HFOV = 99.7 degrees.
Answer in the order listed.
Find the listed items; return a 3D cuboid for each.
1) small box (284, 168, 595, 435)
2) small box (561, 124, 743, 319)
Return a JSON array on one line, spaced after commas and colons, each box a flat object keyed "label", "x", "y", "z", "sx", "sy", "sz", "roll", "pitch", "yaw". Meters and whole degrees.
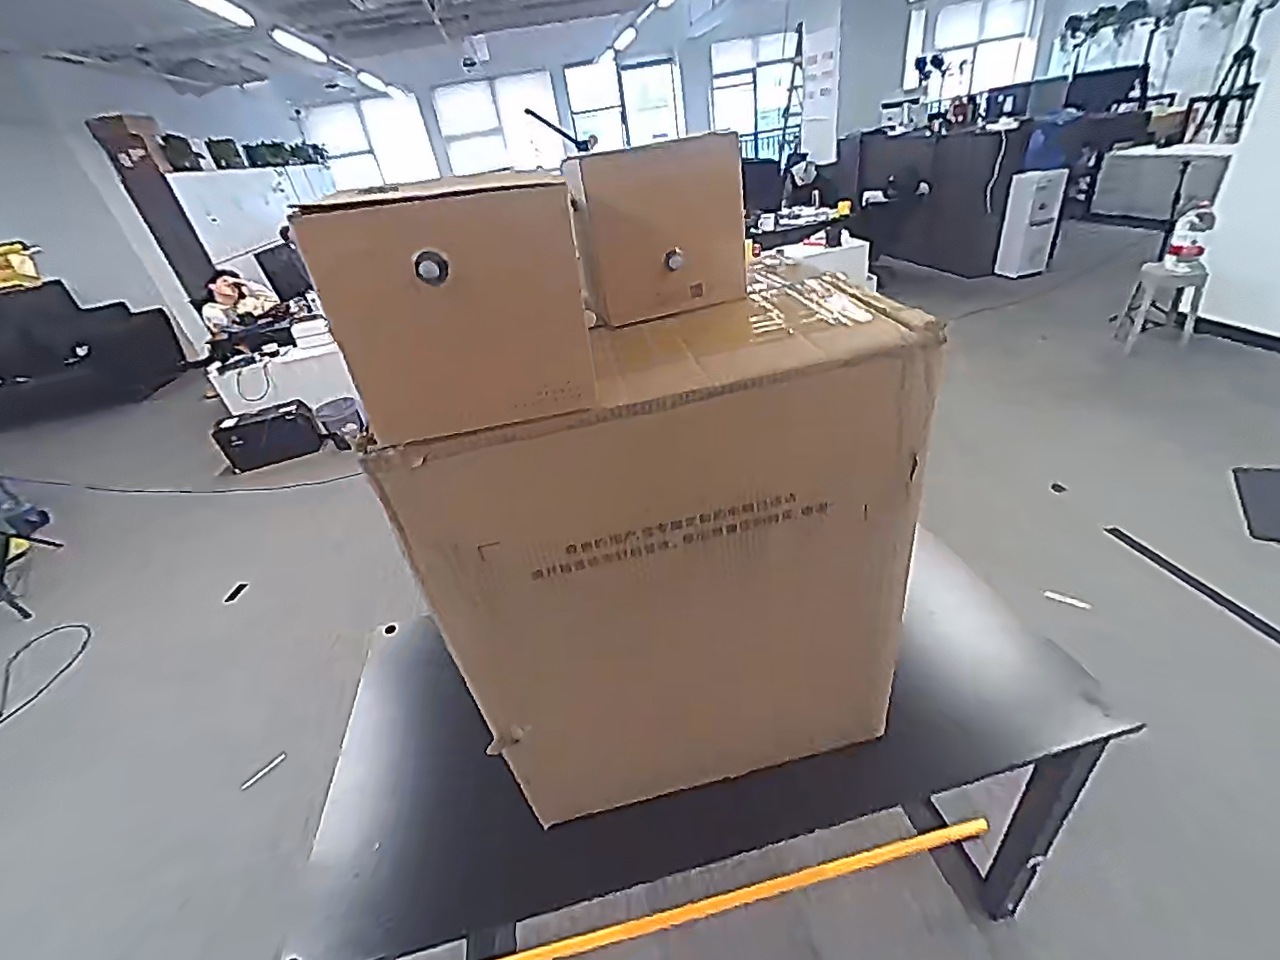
[{"label": "small box", "x": -0.144, "y": -0.152, "z": 0.449, "sx": 0.179, "sy": 0.176, "sz": 0.168, "roll": -12, "pitch": 34, "yaw": -9}, {"label": "small box", "x": 0.012, "y": -0.299, "z": 0.636, "sx": 0.168, "sy": 0.176, "sz": 0.179, "roll": -15, "pitch": 31, "yaw": -6}]
